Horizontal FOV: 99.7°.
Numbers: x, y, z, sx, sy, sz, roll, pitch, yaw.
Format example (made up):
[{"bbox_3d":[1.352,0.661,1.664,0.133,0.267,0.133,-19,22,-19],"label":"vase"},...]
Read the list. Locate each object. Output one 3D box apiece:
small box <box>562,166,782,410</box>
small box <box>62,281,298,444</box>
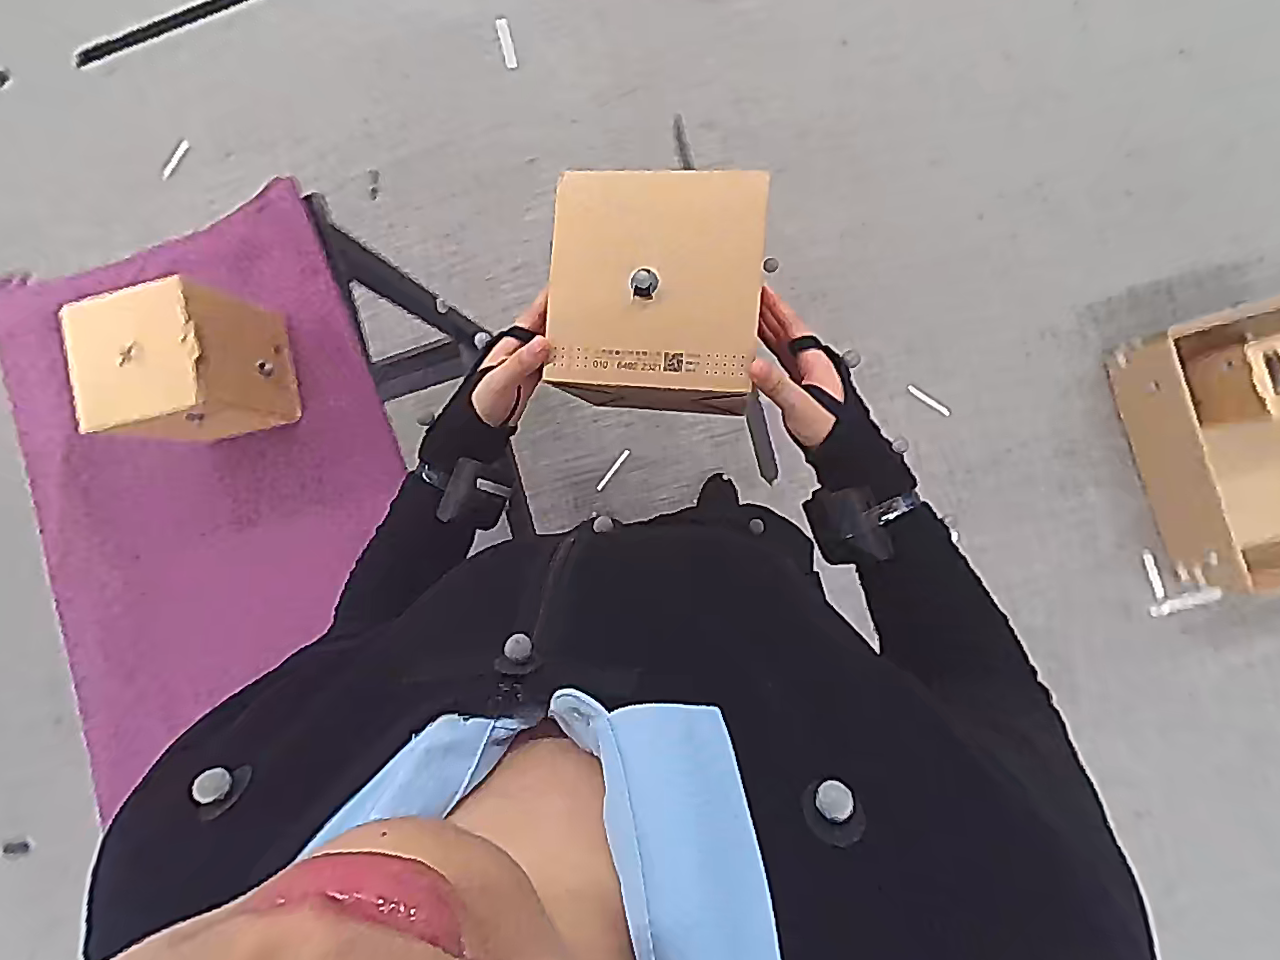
[{"bbox_3d":[0.033,-0.156,0.492,0.168,0.179,0.176,7,93,10],"label":"small box"},{"bbox_3d":[-0.624,-0.149,0.751,0.179,0.176,0.168,-12,88,7],"label":"small box"}]
